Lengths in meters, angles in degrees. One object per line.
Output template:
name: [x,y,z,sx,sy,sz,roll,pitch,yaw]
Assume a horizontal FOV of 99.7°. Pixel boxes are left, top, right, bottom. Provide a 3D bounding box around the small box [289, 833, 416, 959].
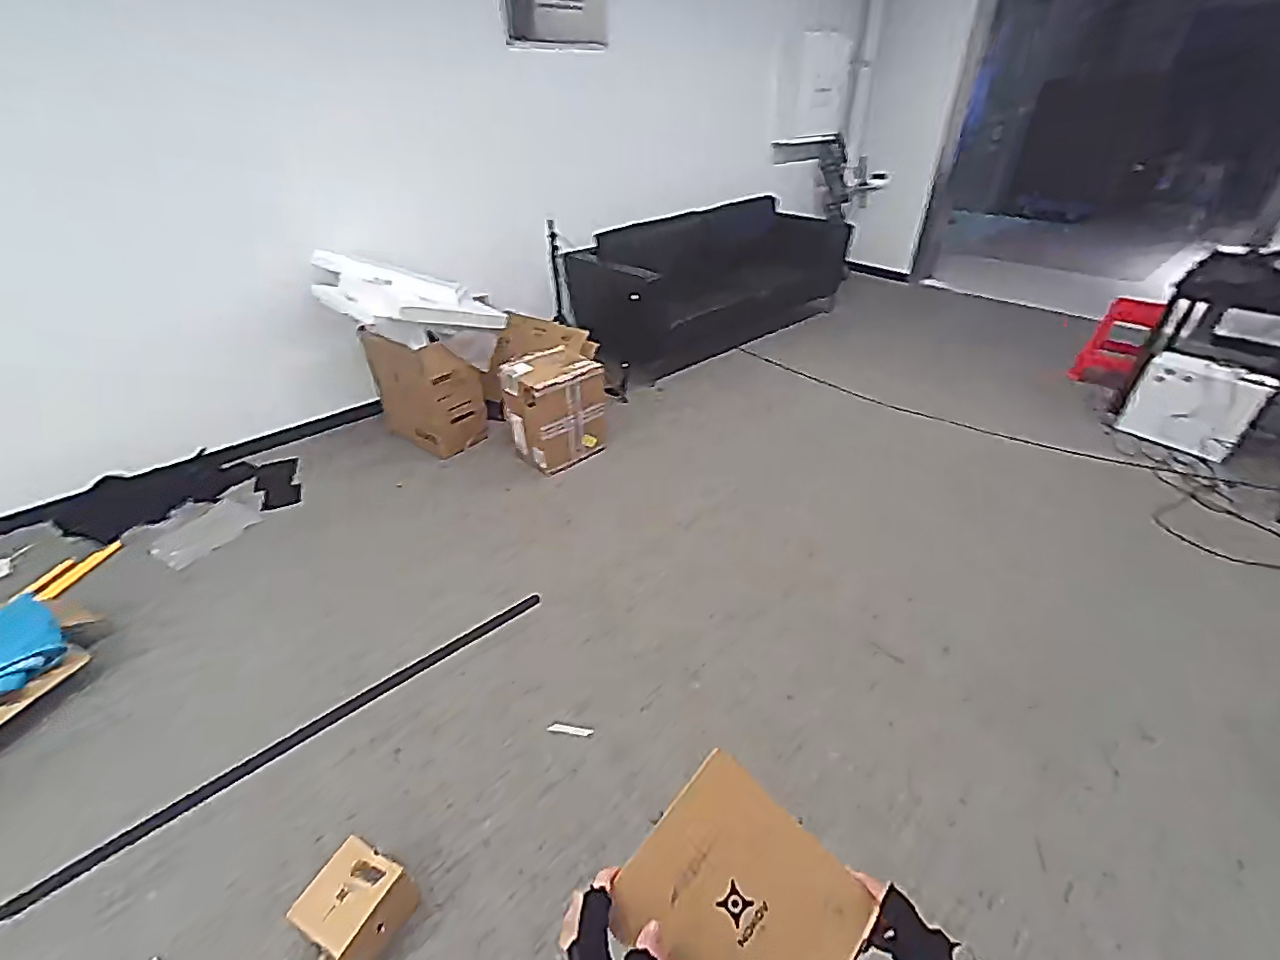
small box: [-0.630,0.950,1.212,0.168,0.176,0.179,15,39,22]
